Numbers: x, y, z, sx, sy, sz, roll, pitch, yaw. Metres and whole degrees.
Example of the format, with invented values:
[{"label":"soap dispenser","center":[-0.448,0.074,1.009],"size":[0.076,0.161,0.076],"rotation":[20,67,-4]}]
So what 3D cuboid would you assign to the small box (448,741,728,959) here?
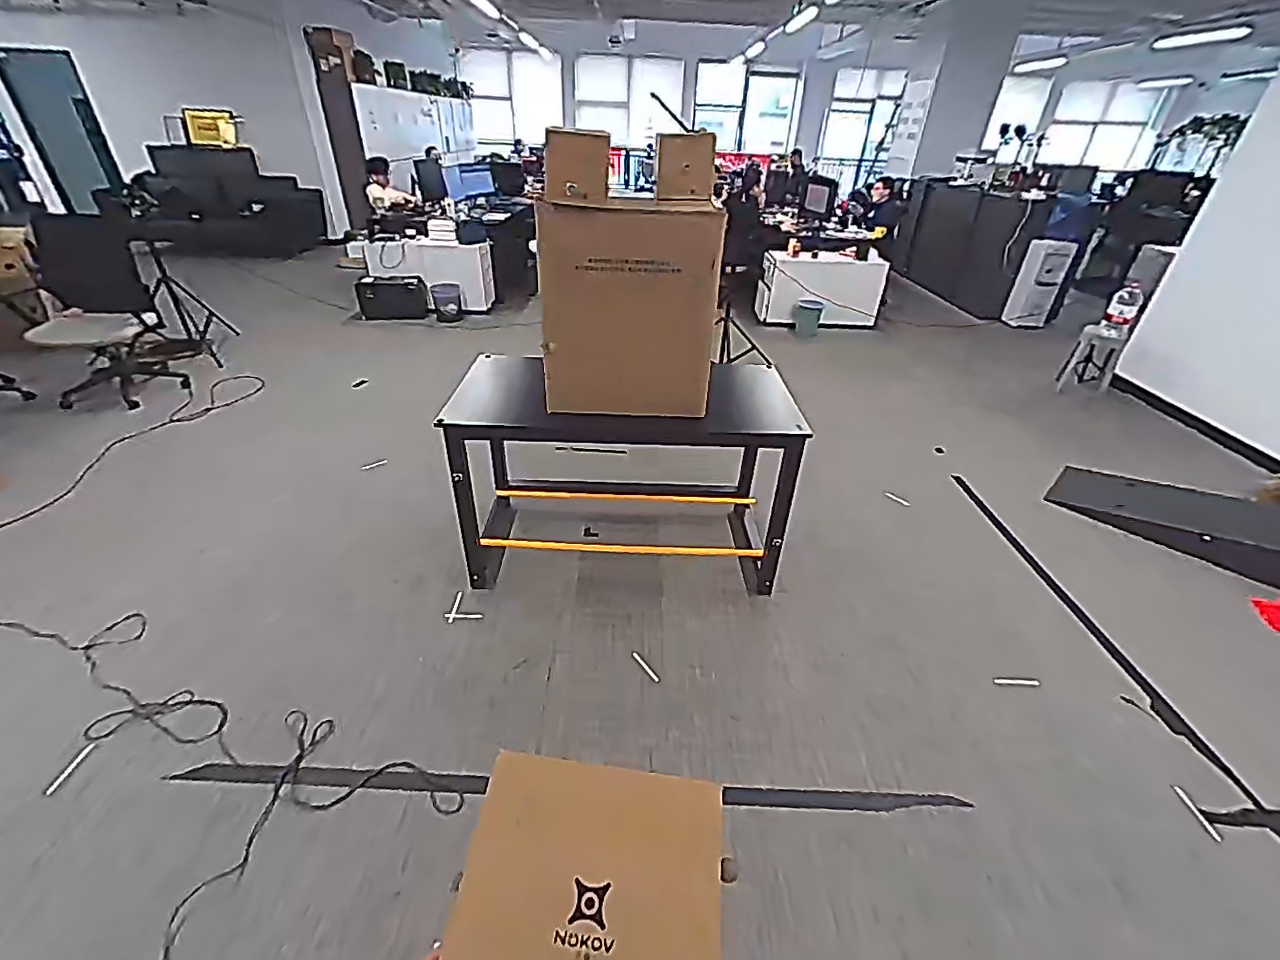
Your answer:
[{"label":"small box","center":[-0.030,0.321,0.399],"size":[0.168,0.176,0.179],"rotation":[6,48,4]}]

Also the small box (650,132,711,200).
[{"label":"small box","center":[0.117,-0.943,1.624],"size":[0.168,0.176,0.179],"rotation":[-1,32,-3]}]
